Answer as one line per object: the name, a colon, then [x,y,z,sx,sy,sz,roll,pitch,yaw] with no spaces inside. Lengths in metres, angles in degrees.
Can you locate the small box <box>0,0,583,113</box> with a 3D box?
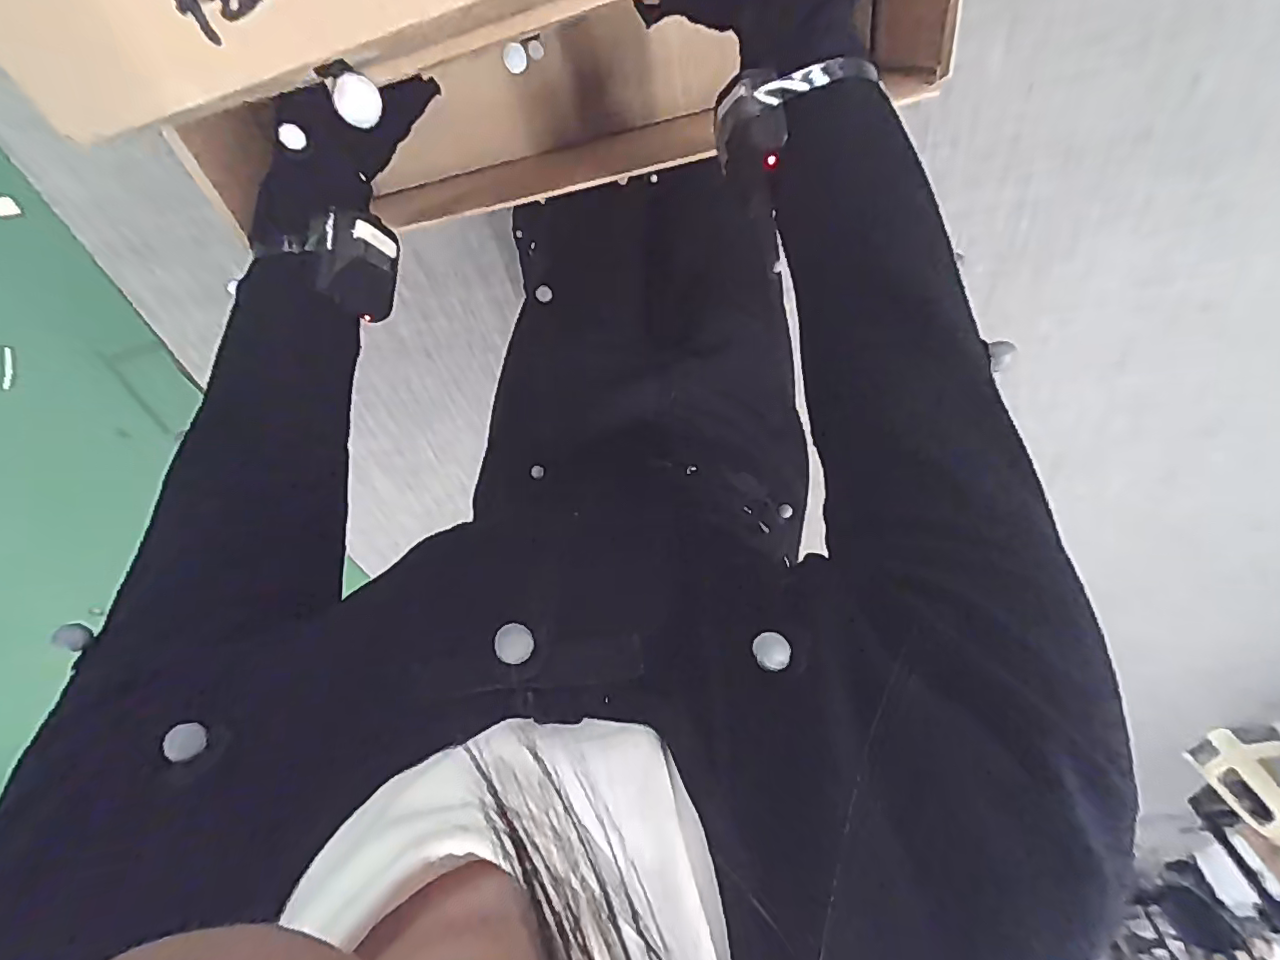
small box: [-0.088,-0.219,0.130,0.168,0.176,0.179,-13,129,8]

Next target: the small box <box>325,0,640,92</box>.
small box: [-0.095,-0.319,0.260,0.168,0.176,0.179,-12,131,7]

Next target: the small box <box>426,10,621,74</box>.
small box: [-0.106,-0.422,0.385,0.168,0.176,0.179,-14,130,8]
